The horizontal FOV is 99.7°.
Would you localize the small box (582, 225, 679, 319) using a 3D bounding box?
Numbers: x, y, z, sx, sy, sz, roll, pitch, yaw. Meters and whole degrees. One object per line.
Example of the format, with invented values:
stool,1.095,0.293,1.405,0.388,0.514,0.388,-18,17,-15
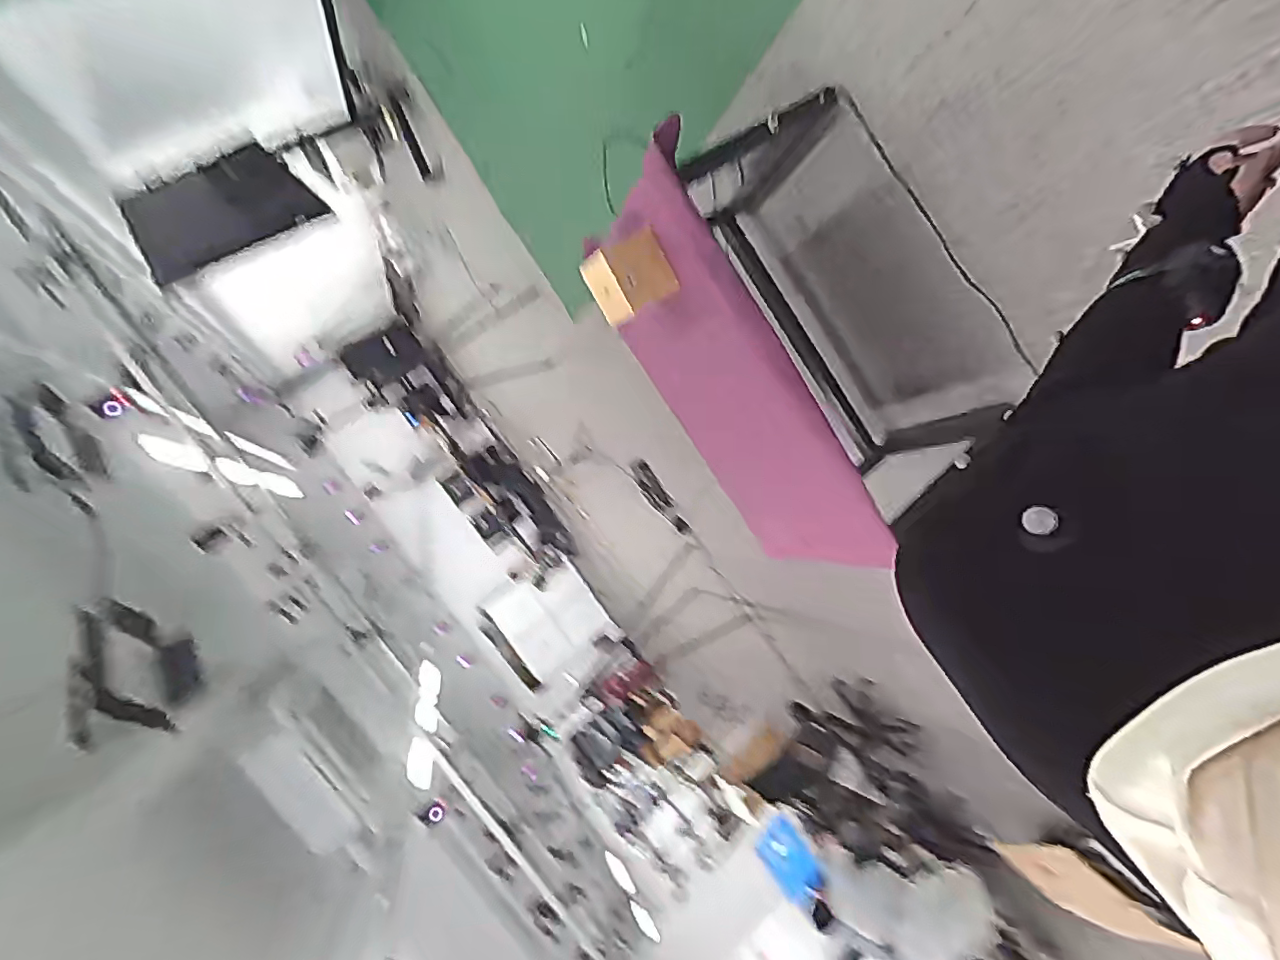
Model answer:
small box,-0.024,-0.574,1.488,0.179,0.176,0.168,58,160,-17
